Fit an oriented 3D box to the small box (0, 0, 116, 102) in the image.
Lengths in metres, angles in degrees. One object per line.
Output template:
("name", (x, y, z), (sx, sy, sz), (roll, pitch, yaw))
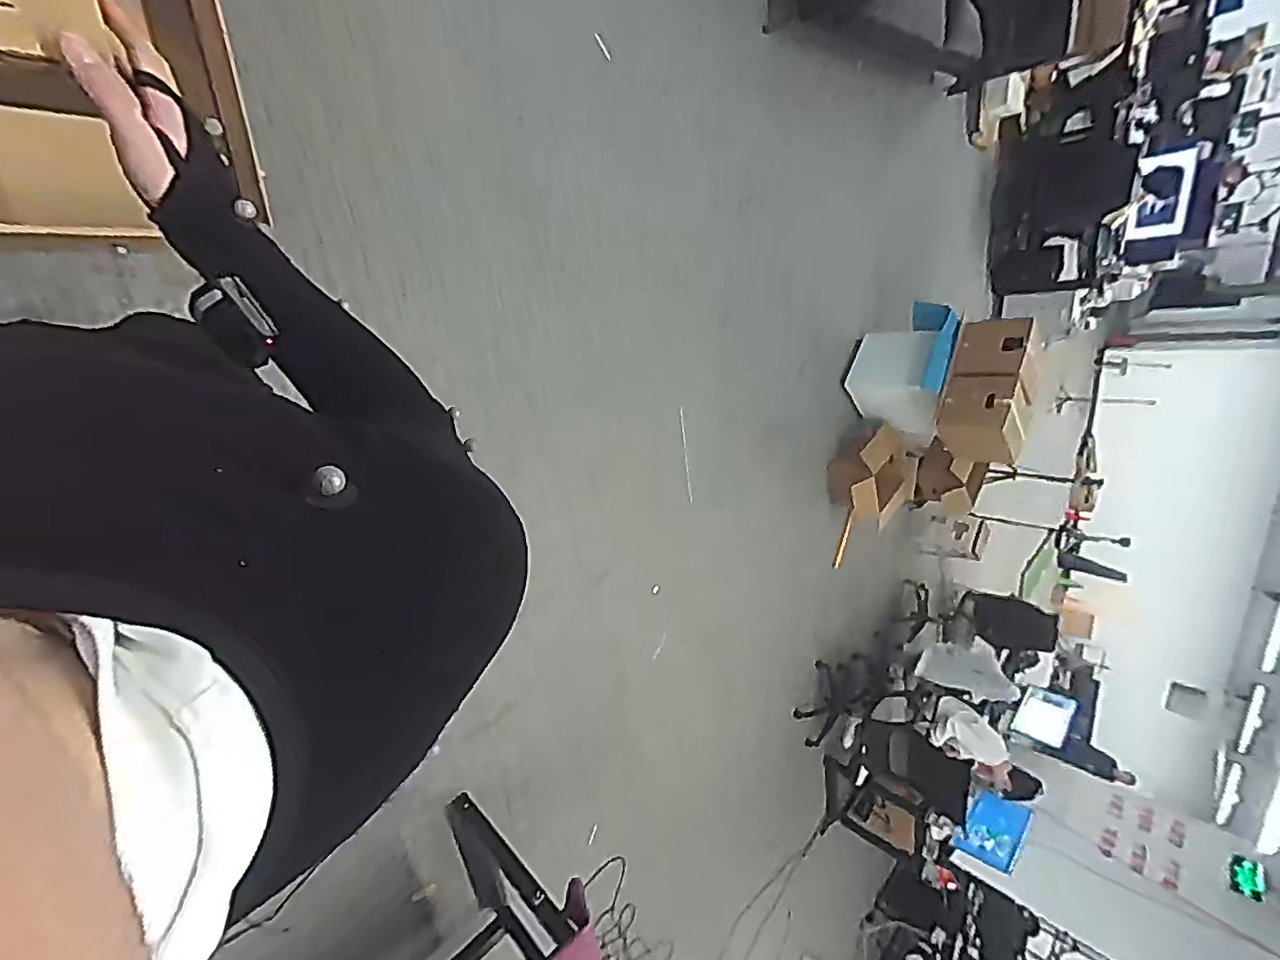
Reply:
("small box", (-0.501, -0.390, 0.373), (0.168, 0.176, 0.179), (-17, 115, -37))
